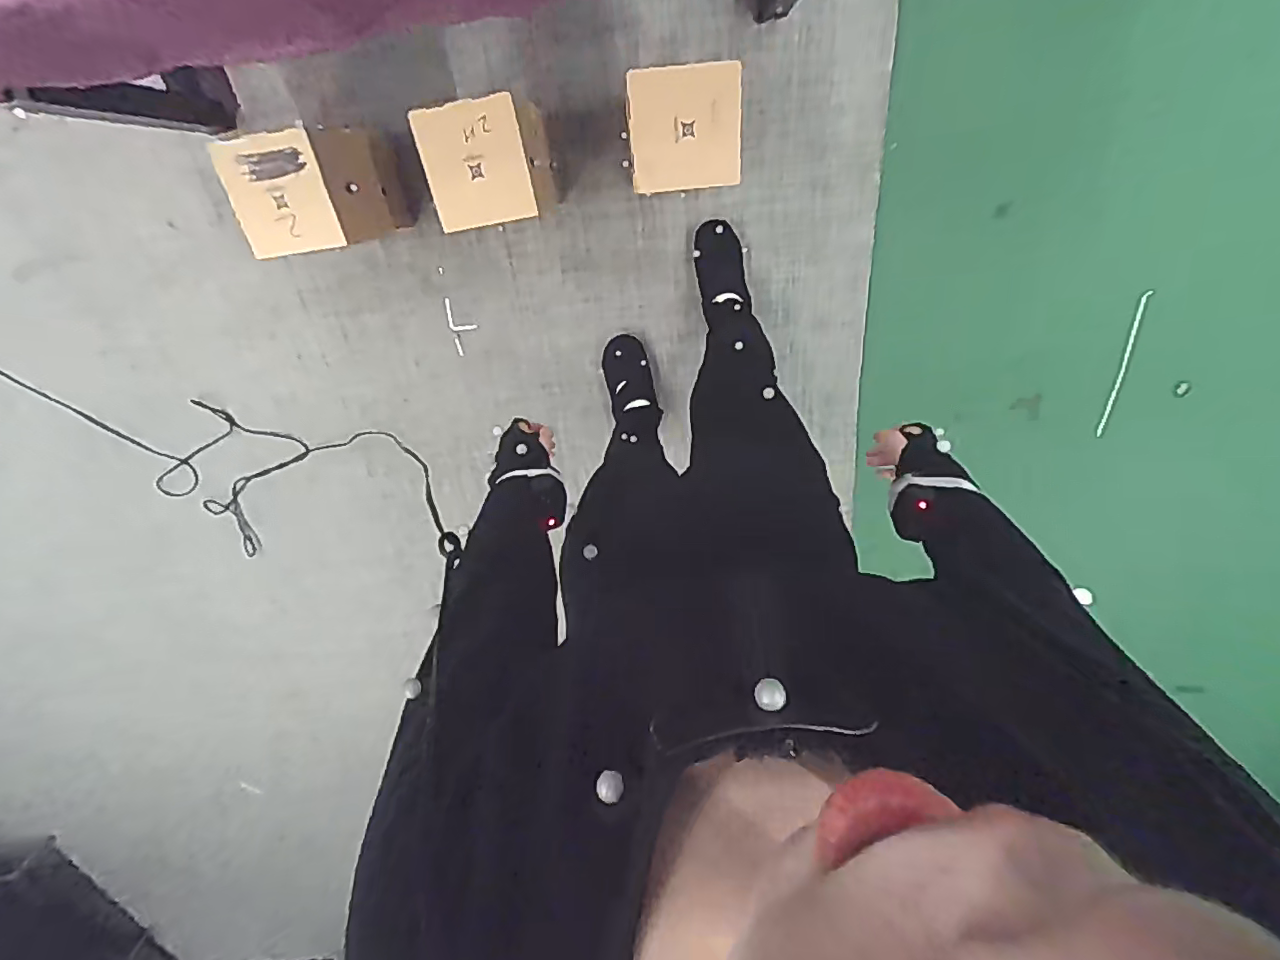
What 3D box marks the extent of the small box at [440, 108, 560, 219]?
[{"bbox_3d":[-0.270,-0.626,1.083,0.179,0.176,0.168,-7,118,3],"label":"small box"}]
